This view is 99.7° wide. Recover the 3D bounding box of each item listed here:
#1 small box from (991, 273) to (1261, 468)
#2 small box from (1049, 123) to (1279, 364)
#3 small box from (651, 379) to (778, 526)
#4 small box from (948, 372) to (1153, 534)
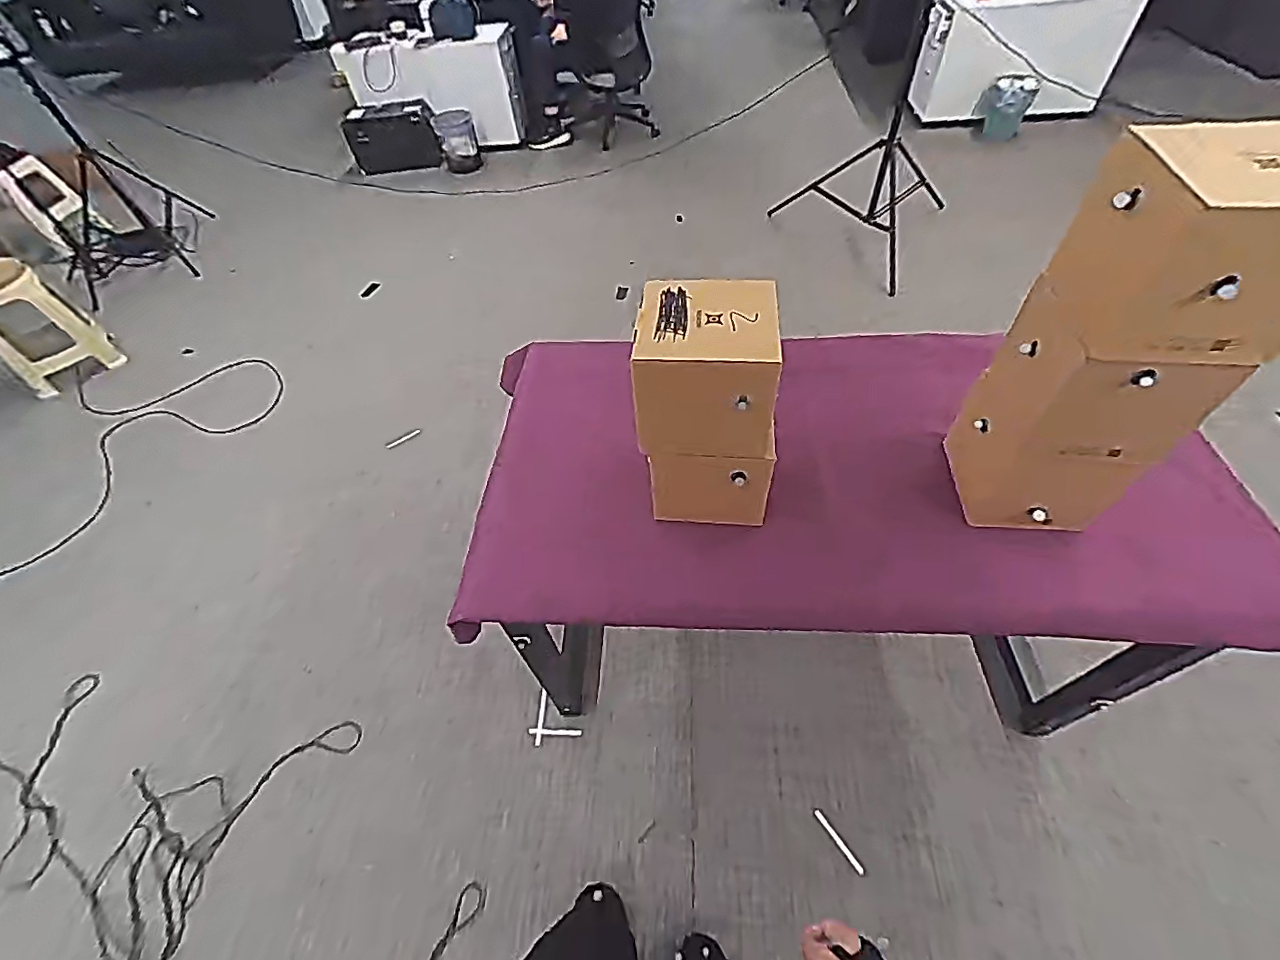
[{"bbox_3d":[0.579,-0.138,0.682,0.168,0.176,0.179,4,51,9],"label":"small box"},{"bbox_3d":[0.567,-0.234,0.550,0.168,0.176,0.179,3,52,9],"label":"small box"},{"bbox_3d":[0.117,-0.040,0.857,0.179,0.176,0.168,2,51,8],"label":"small box"},{"bbox_3d":[0.592,-0.041,0.813,0.168,0.176,0.179,2,52,8],"label":"small box"}]
